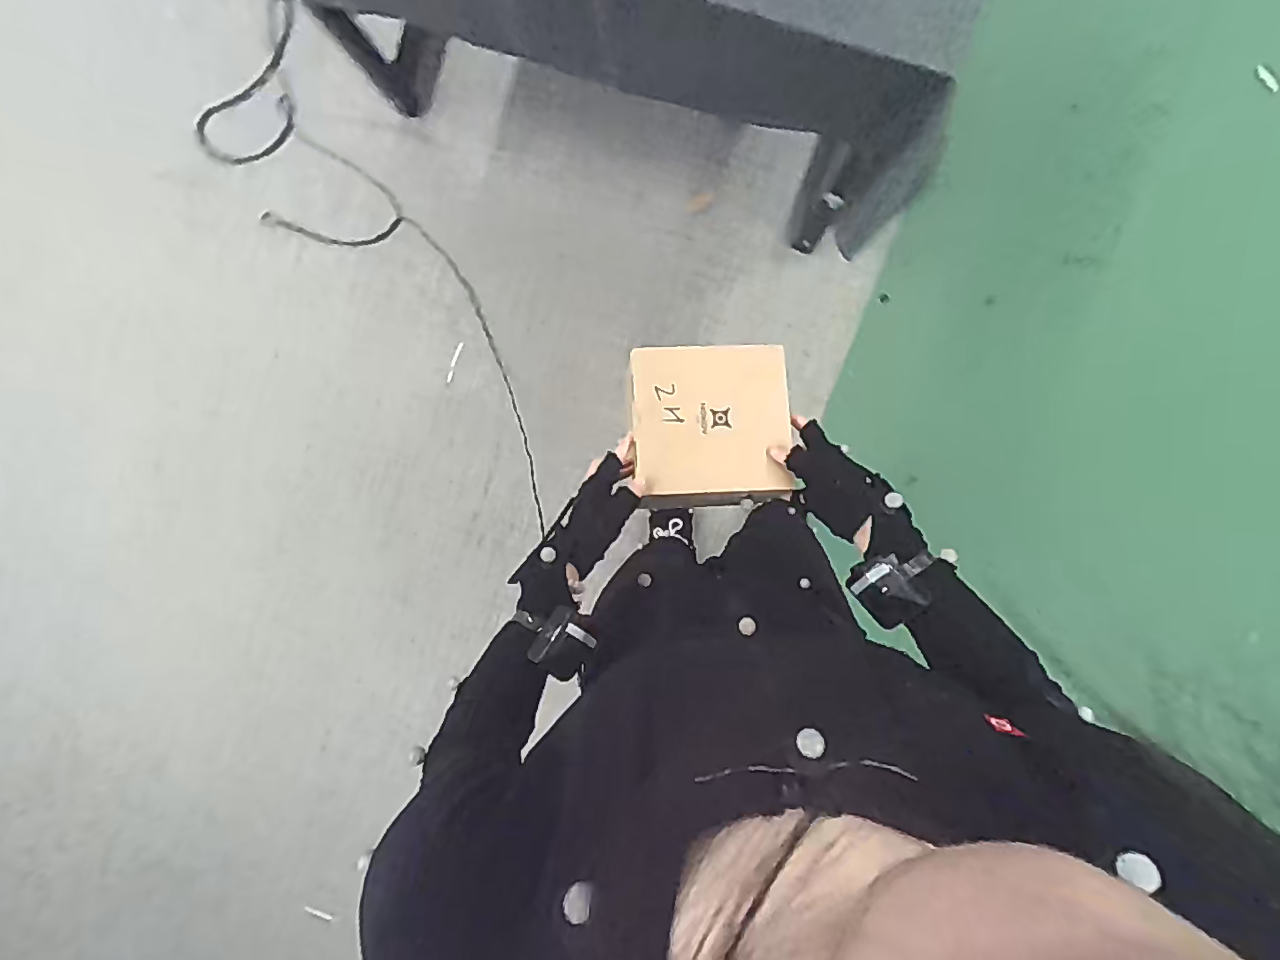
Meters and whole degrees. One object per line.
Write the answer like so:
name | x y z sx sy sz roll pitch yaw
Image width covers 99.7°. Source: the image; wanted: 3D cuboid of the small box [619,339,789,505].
small box | 0.066 -0.062 0.667 0.179 0.176 0.168 -4 81 -3
